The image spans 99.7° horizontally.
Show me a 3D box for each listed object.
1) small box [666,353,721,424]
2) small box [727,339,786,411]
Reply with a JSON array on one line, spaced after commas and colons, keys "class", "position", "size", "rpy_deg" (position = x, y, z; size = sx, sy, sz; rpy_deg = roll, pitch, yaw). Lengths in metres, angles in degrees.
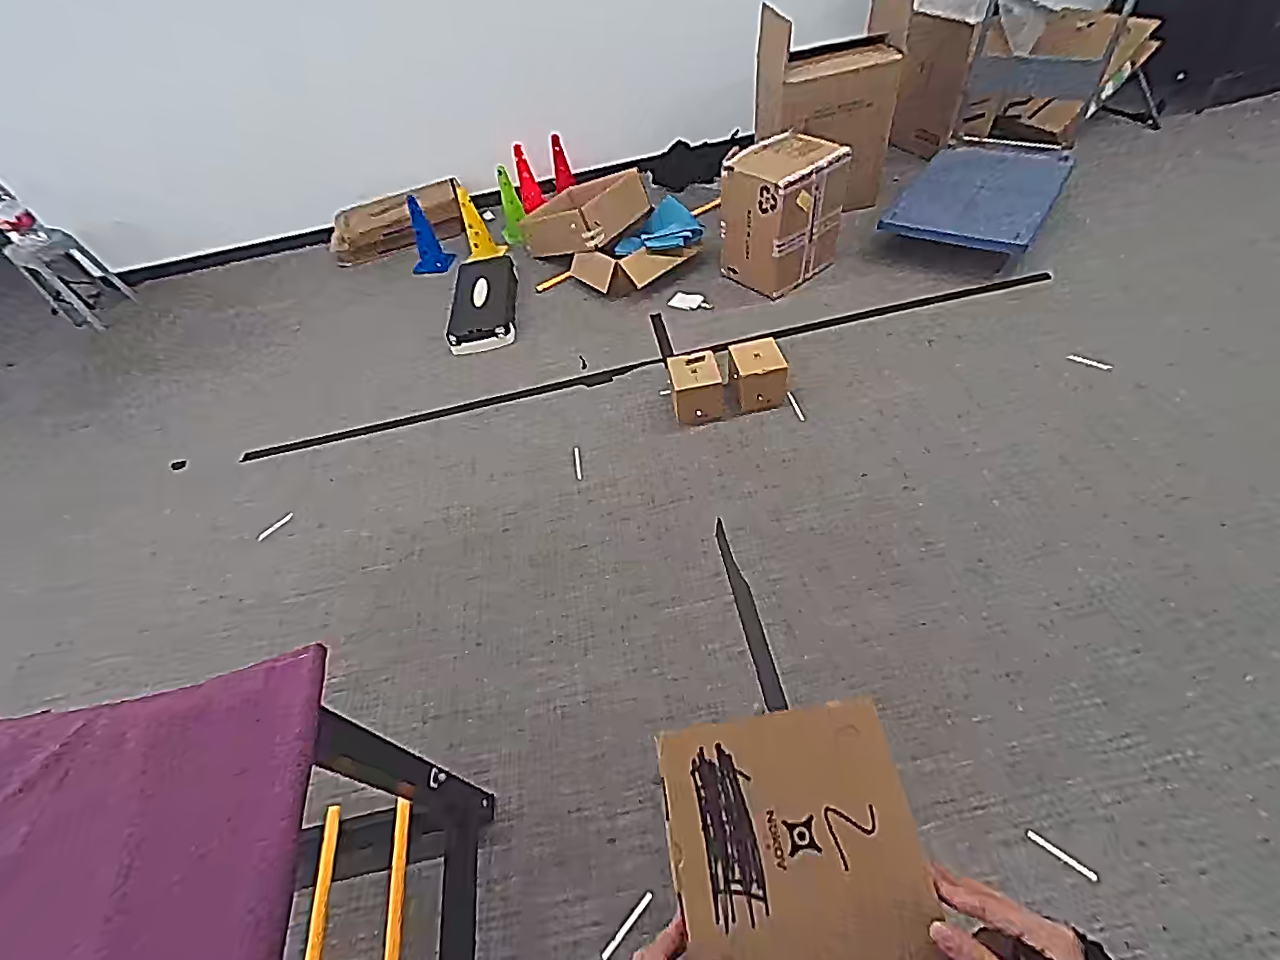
[{"class": "small box", "position": [0.191, -0.326, 1.934], "size": [0.168, 0.176, 0.179], "rpy_deg": [-10, 50, 1]}, {"class": "small box", "position": [0.412, -0.375, 1.943], "size": [0.168, 0.176, 0.179], "rpy_deg": [-12, 50, -1]}]
